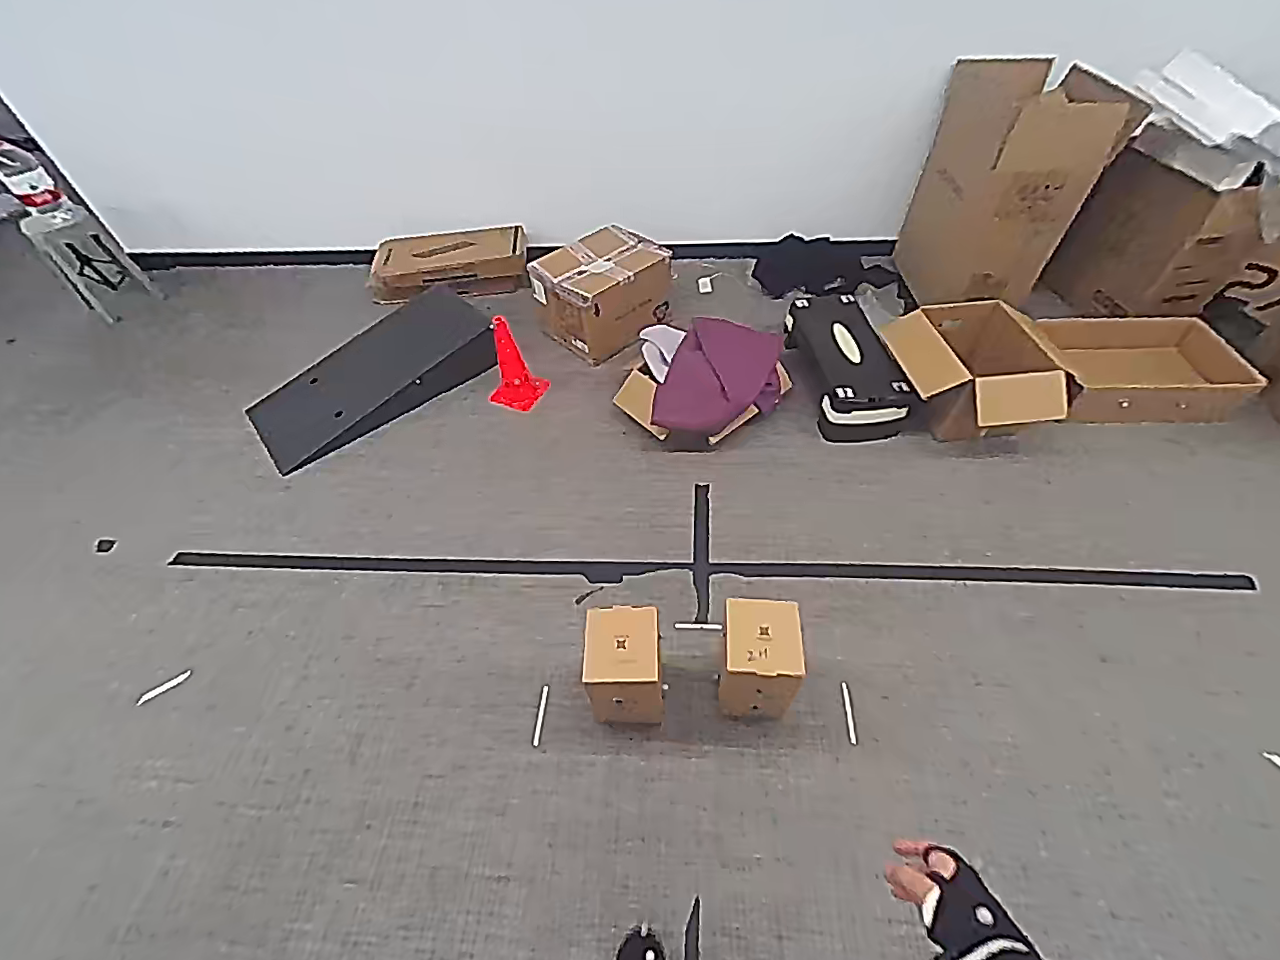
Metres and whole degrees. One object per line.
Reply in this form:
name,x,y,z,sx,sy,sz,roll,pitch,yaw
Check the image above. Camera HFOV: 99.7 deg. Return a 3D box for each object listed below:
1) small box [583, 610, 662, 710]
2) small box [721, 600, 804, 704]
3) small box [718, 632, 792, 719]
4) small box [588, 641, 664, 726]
small box,-0.035,0.422,1.266,0.168,0.176,0.179,-3,51,3
small box,0.278,0.402,1.260,0.168,0.176,0.179,2,51,6
small box,0.290,0.503,1.391,0.168,0.176,0.179,1,51,5
small box,-0.030,0.524,1.392,0.179,0.176,0.168,0,50,3
